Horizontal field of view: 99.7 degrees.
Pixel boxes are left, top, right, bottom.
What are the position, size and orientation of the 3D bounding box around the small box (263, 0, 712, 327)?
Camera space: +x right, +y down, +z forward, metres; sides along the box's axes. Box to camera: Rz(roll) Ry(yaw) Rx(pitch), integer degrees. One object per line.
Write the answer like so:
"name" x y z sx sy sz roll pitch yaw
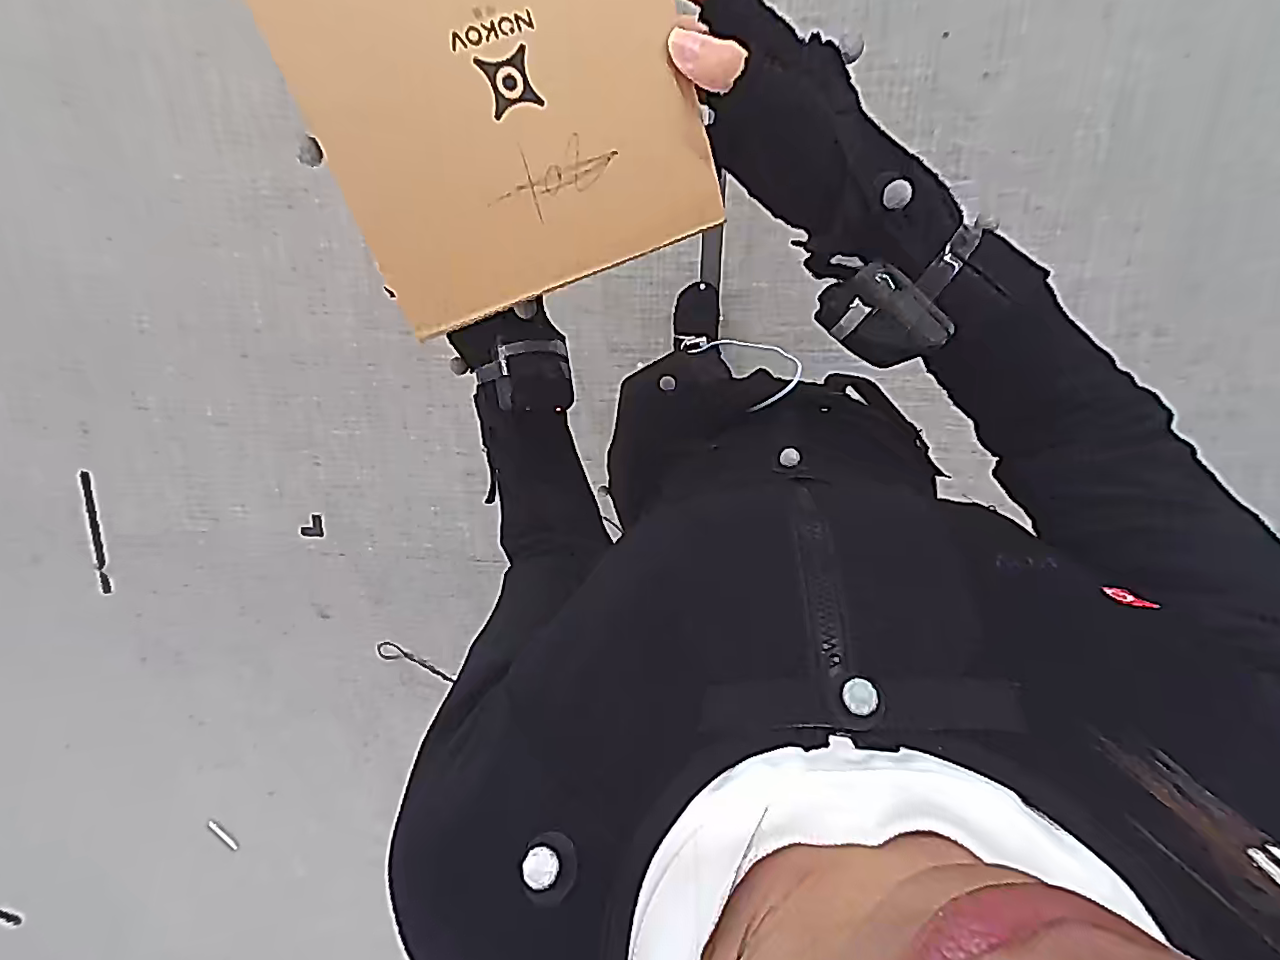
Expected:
"small box" -0.085 -0.202 0.315 0.168 0.176 0.179 -25 114 -9
